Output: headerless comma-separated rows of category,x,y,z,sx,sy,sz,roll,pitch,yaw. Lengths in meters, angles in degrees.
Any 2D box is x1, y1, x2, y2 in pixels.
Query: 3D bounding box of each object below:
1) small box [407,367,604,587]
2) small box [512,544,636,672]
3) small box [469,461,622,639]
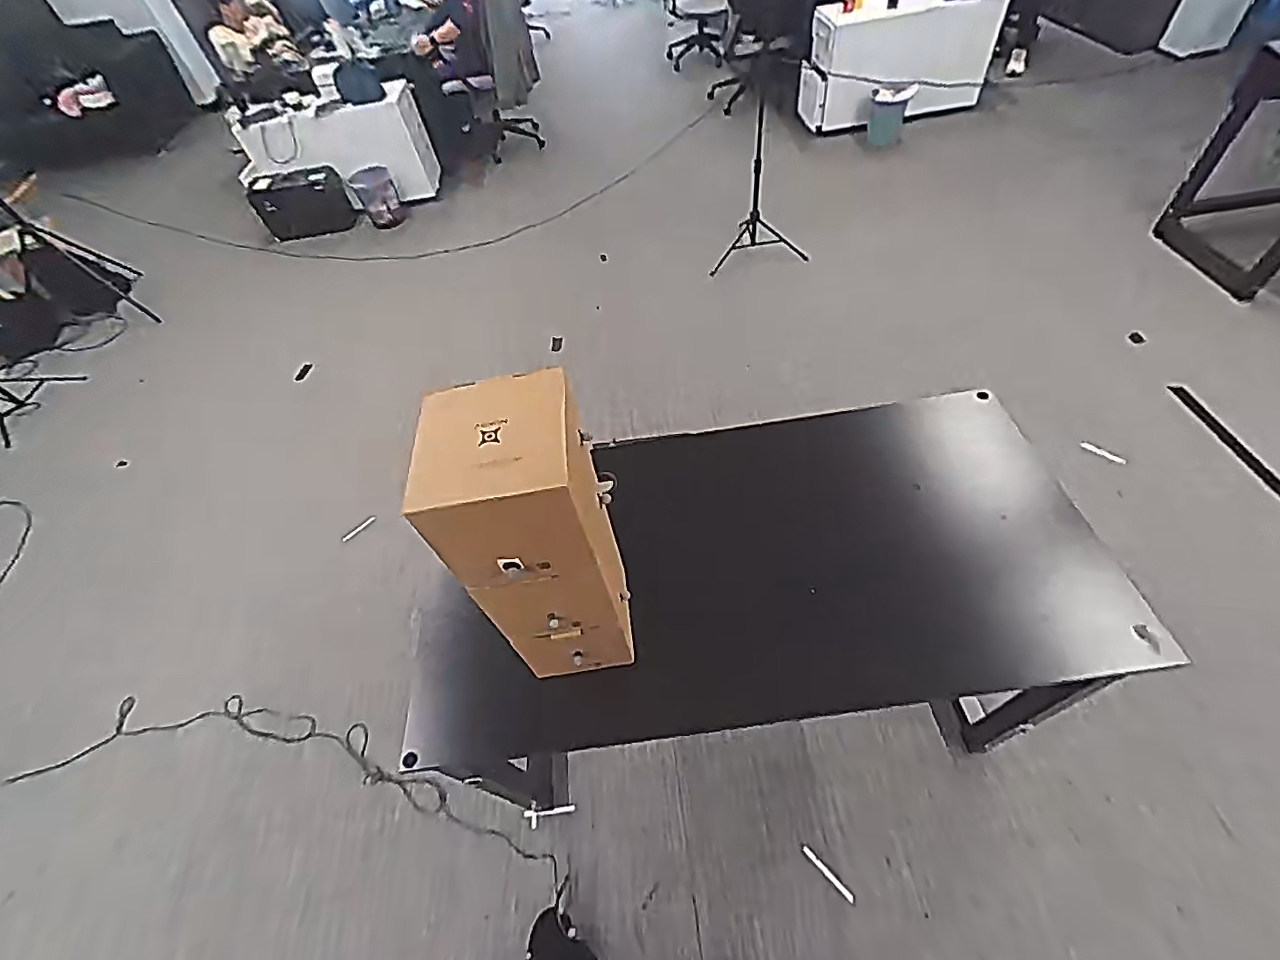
small box,-0.140,0.000,0.625,0.168,0.176,0.179,-10,52,2
small box,-0.103,0.200,0.881,0.168,0.176,0.179,-10,52,1
small box,-0.123,0.099,0.753,0.168,0.176,0.179,-10,52,2
